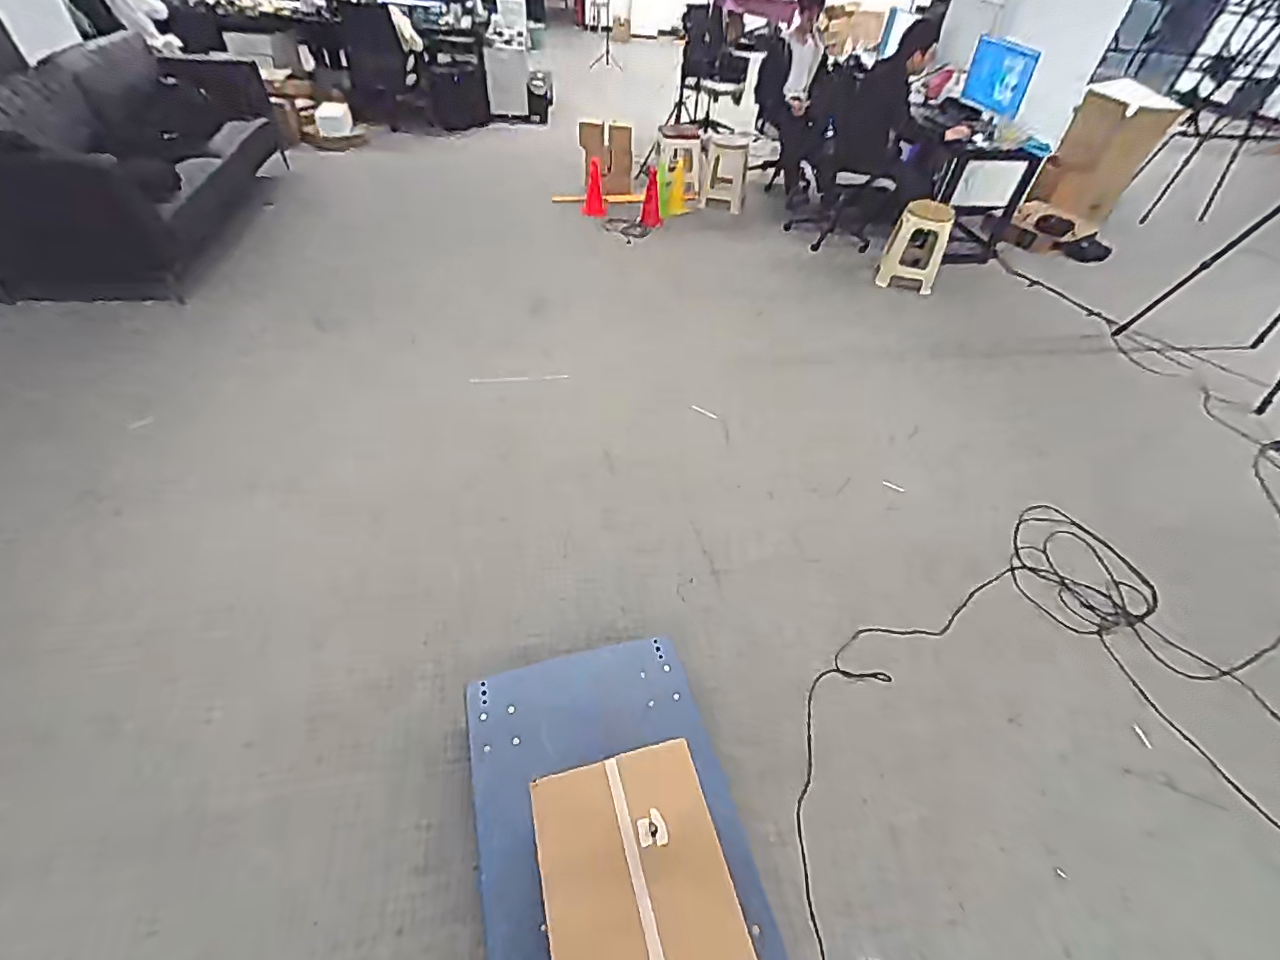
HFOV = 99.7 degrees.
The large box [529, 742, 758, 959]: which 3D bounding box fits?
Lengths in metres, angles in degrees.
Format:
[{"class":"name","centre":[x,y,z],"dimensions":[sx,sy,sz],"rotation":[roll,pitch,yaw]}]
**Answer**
[{"class":"large box","centre":[-0.010,0.788,1.014],"dimensions":[0.320,0.320,0.408],"rotation":[-9,46,-14]}]
